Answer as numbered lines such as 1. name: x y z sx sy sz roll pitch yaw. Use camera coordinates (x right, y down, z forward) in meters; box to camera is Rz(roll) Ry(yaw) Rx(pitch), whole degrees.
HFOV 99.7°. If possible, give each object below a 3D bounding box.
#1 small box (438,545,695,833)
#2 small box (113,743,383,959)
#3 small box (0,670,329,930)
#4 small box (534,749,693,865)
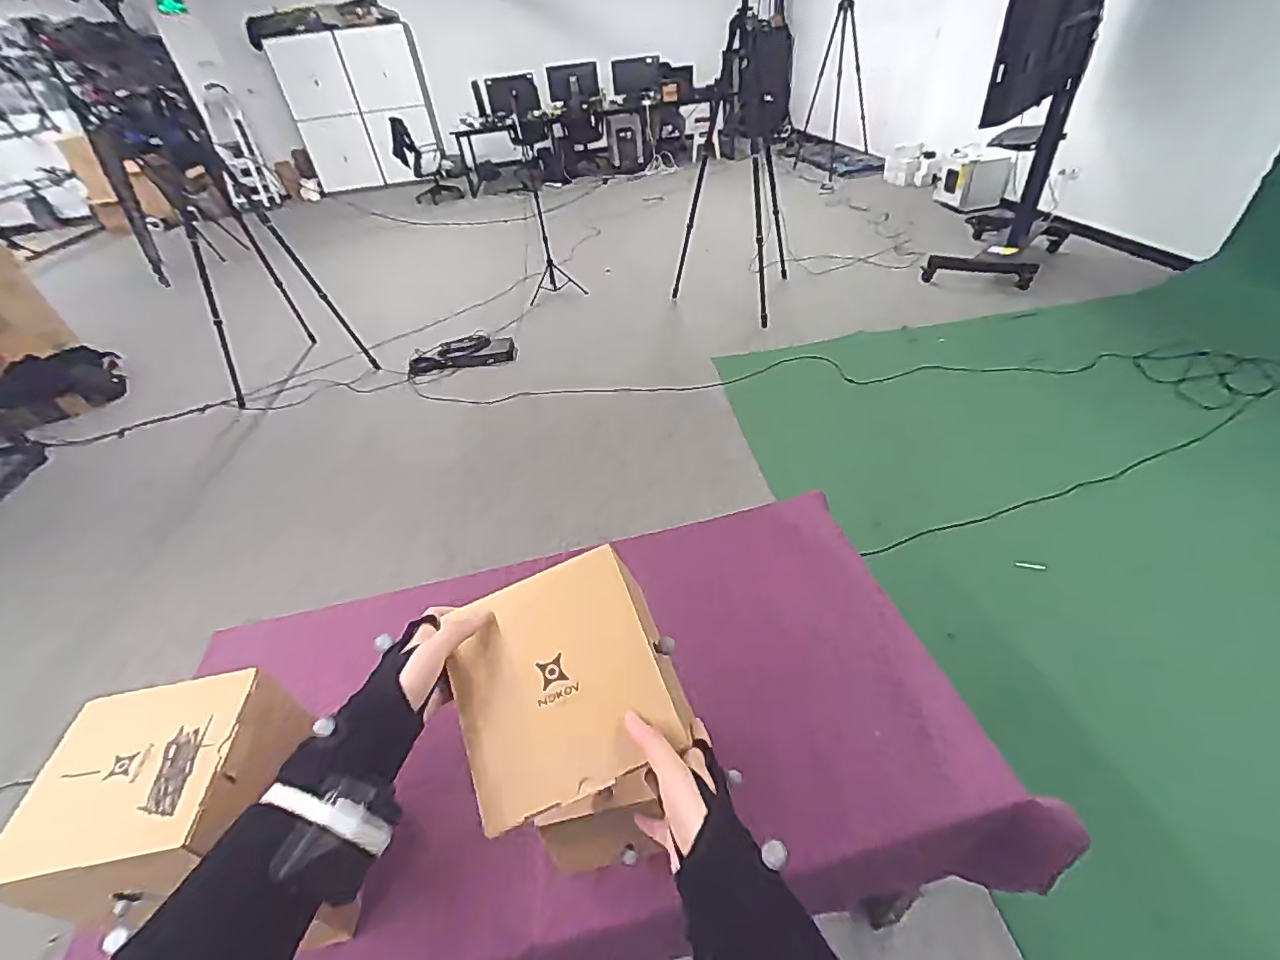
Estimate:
1. small box: -0.058 0.188 0.508 0.168 0.176 0.179 -25 68 -1
2. small box: -0.444 0.450 0.652 0.179 0.176 0.168 -10 41 -3
3. small box: -0.455 0.323 0.549 0.179 0.176 0.168 -11 41 -3
4. small box: -0.034 0.361 0.693 0.179 0.176 0.168 -10 40 -4
